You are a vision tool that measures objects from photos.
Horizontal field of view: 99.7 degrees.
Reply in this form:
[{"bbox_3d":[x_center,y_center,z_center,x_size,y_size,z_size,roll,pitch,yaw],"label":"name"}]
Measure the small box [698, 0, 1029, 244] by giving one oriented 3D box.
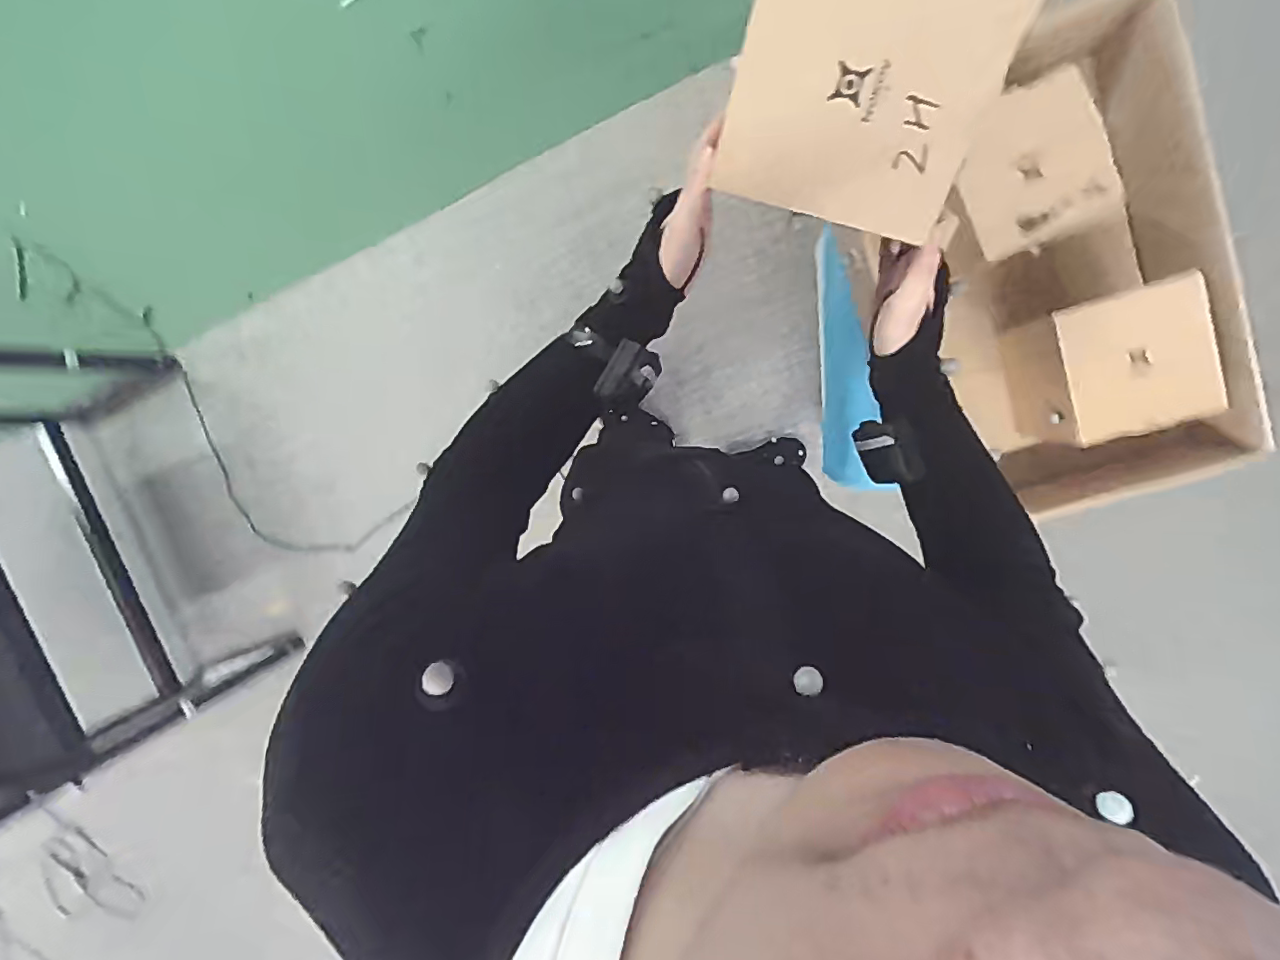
[{"bbox_3d":[0.162,-0.310,0.443,0.179,0.176,0.168,17,123,4],"label":"small box"}]
